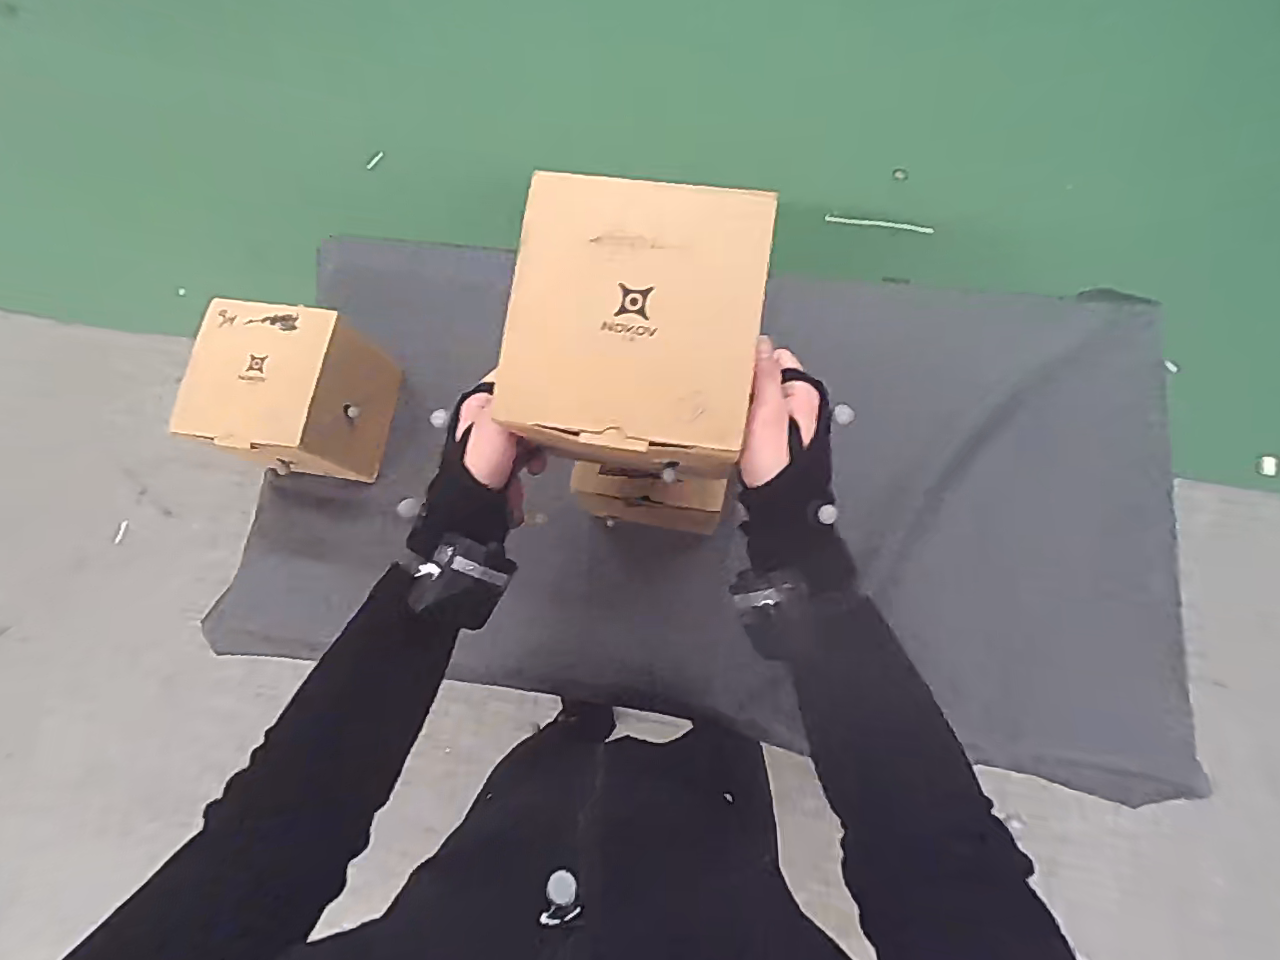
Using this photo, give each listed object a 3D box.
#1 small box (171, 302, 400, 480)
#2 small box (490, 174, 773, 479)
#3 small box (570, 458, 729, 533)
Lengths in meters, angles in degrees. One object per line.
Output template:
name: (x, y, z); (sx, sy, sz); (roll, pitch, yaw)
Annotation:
small box: (-0.442, -0.105, 0.706); (0.168, 0.176, 0.179); (7, 79, 4)
small box: (0.000, -0.101, 0.427); (0.168, 0.176, 0.179); (8, 84, 4)
small box: (0.025, -0.038, 0.660); (0.168, 0.176, 0.179); (9, 77, 6)
